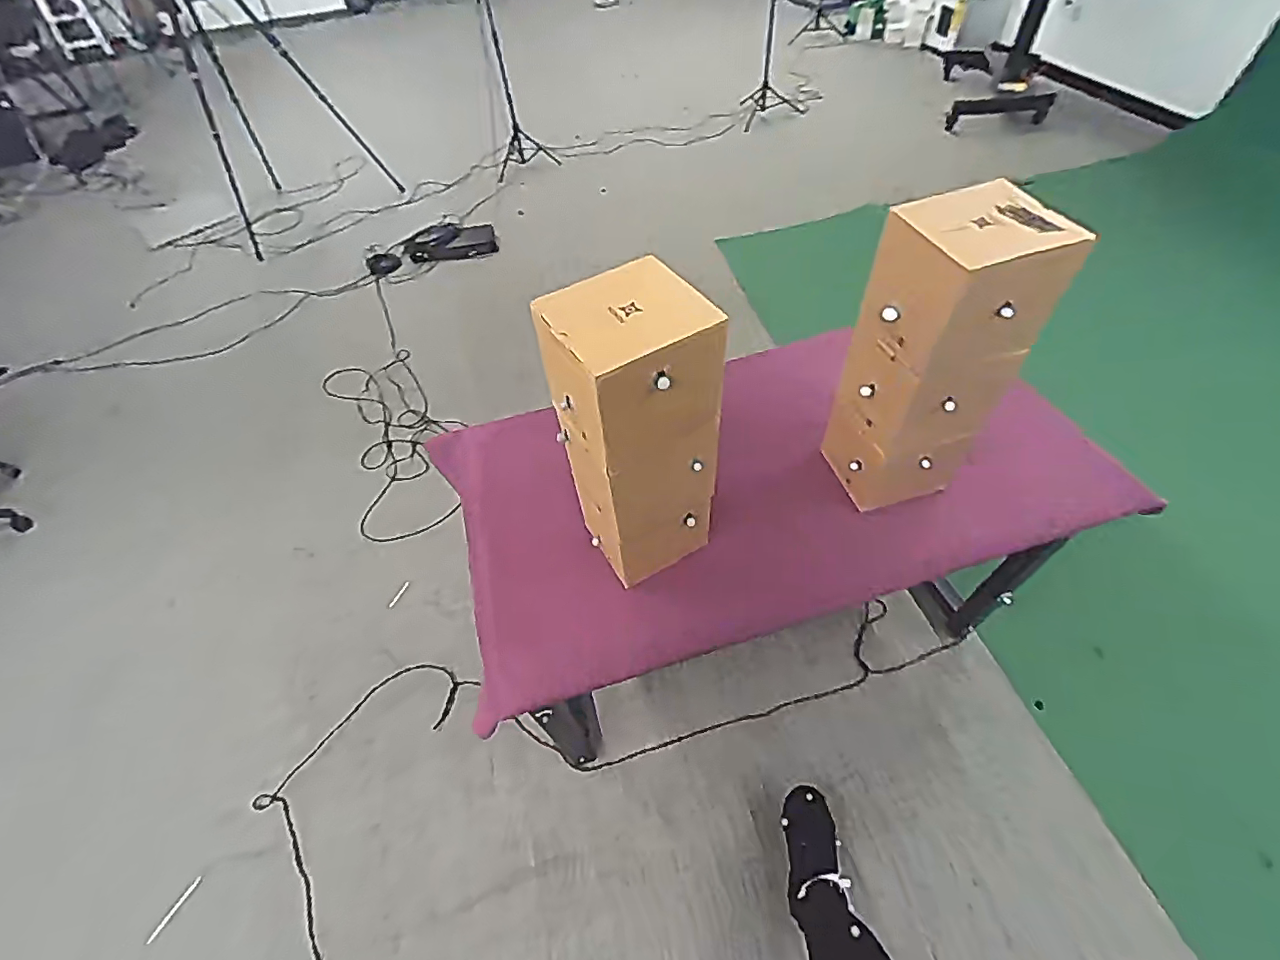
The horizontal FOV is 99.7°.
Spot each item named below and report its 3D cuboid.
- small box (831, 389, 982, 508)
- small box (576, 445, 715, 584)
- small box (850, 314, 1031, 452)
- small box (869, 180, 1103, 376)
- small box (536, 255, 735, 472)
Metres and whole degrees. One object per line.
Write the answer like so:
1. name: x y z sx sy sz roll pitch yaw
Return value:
1. small box: 0.469 -0.069 0.991 0.179 0.176 0.168 -14 53 -5
2. small box: 0.010 0.048 0.942 0.179 0.176 0.168 -27 55 -14
3. small box: 0.456 -0.168 0.862 0.179 0.176 0.168 -16 54 -5
4. small box: 0.445 -0.269 0.732 0.179 0.176 0.168 -16 54 -6
5. small box: -0.006 -0.143 0.677 0.179 0.176 0.168 -28 56 -15
